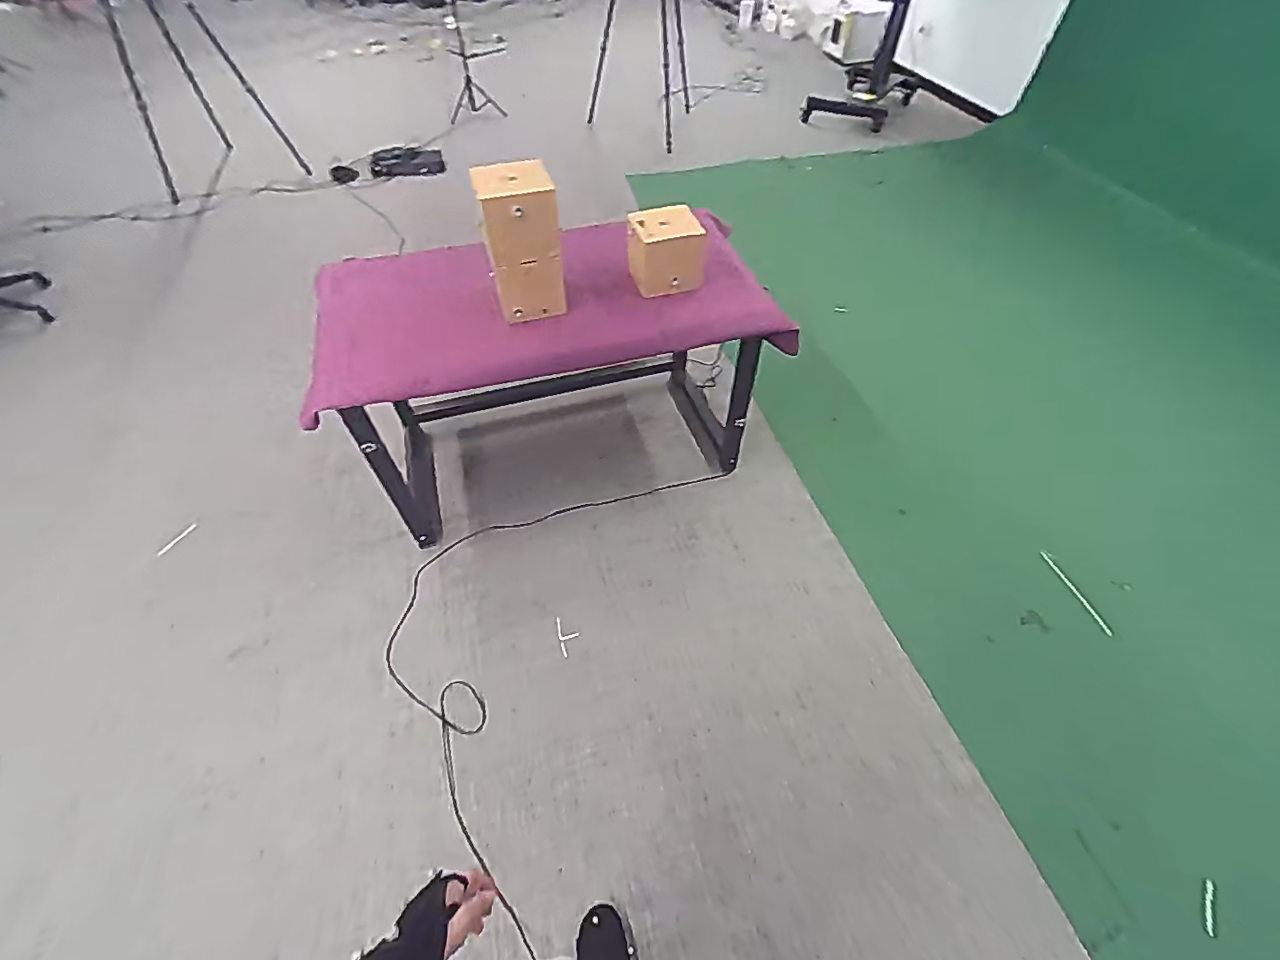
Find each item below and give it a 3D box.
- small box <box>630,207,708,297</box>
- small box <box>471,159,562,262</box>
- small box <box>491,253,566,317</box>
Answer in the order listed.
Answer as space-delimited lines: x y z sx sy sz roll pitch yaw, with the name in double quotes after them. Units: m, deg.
0.074 -0.640 1.521 0.179 0.176 0.168 -13 53 -11 "small box"
-0.296 -0.651 1.315 0.179 0.176 0.168 -13 54 -12 "small box"
-0.300 -0.553 1.445 0.168 0.176 0.179 -14 52 -12 "small box"
